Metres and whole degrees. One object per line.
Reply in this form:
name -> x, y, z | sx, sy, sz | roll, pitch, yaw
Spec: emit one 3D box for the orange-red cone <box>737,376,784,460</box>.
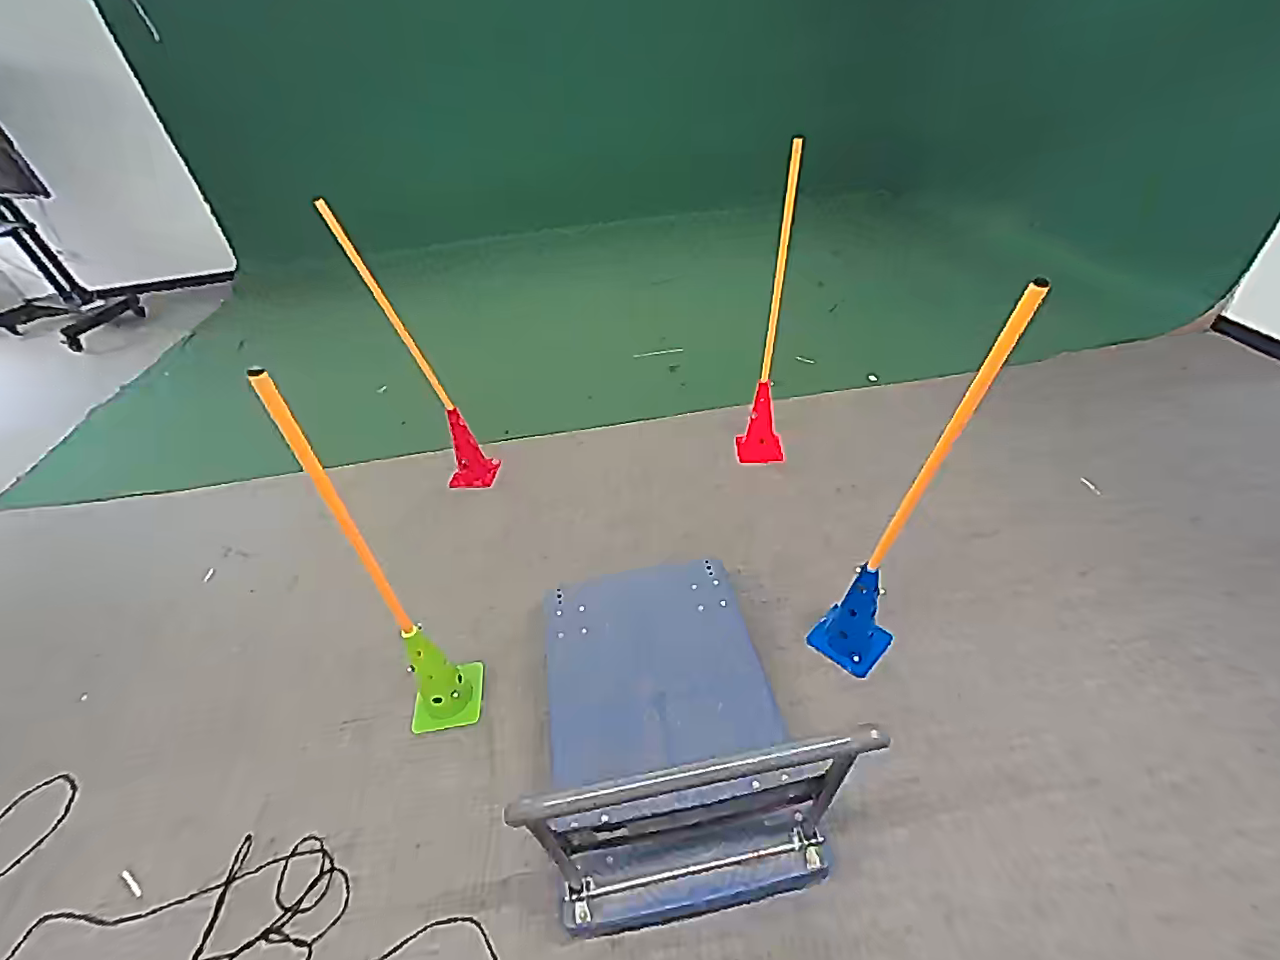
orange-red cone -> 0.520, -0.278, 2.305 | 0.198, 0.360, 0.199 | -2, 42, 7
